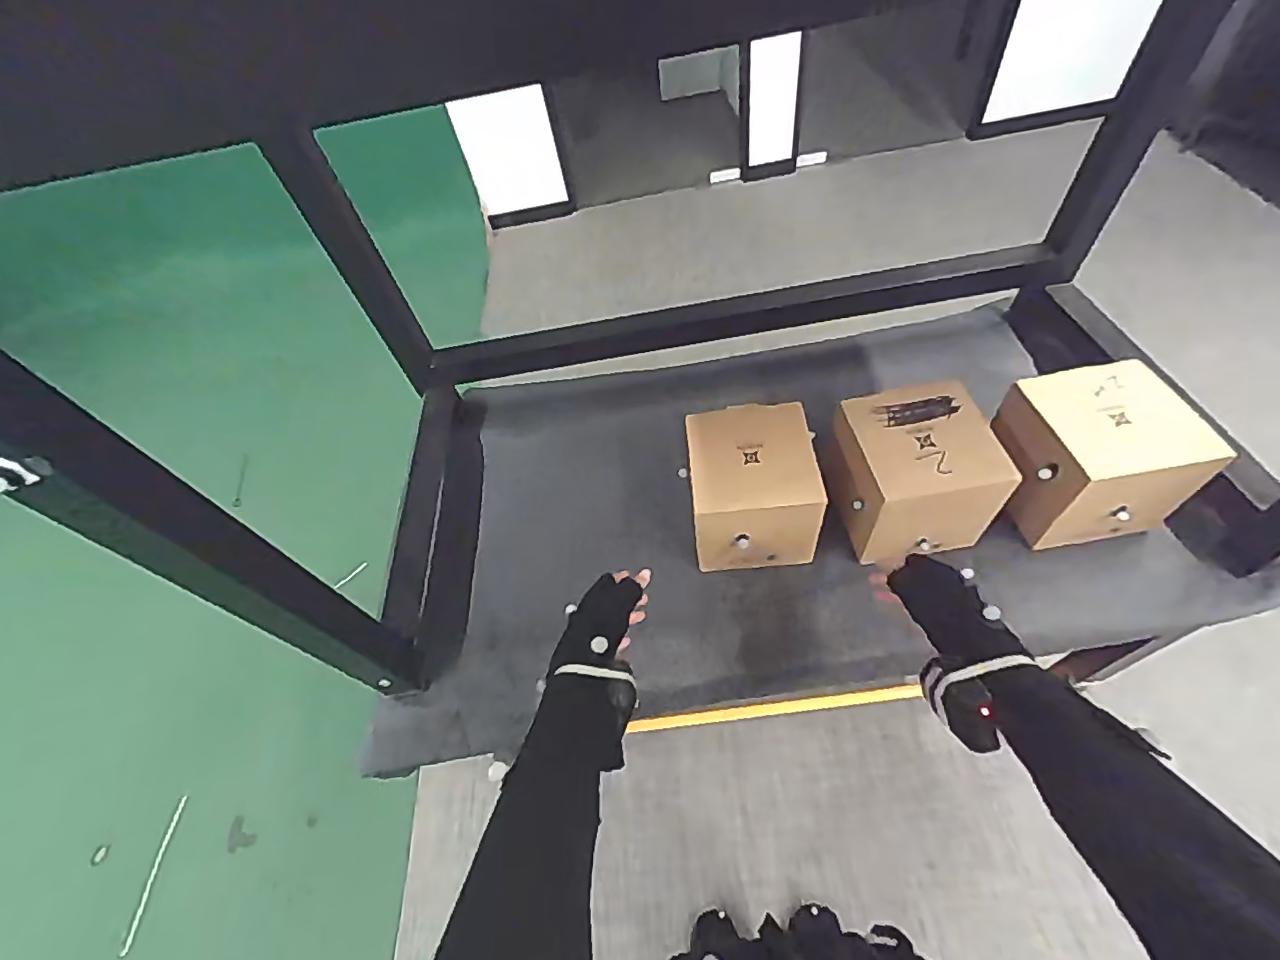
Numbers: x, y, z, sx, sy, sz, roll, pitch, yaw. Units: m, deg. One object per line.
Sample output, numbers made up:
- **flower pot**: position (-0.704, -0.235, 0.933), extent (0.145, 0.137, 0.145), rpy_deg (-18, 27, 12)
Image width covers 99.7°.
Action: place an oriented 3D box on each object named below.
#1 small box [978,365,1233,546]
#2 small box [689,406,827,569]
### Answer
- **small box**: position (0.608, -0.024, 0.739), extent (0.168, 0.176, 0.179), rpy_deg (-10, 52, 2)
- **small box**: position (0.164, 0.019, 0.789), extent (0.168, 0.176, 0.179), rpy_deg (-6, 53, 6)
